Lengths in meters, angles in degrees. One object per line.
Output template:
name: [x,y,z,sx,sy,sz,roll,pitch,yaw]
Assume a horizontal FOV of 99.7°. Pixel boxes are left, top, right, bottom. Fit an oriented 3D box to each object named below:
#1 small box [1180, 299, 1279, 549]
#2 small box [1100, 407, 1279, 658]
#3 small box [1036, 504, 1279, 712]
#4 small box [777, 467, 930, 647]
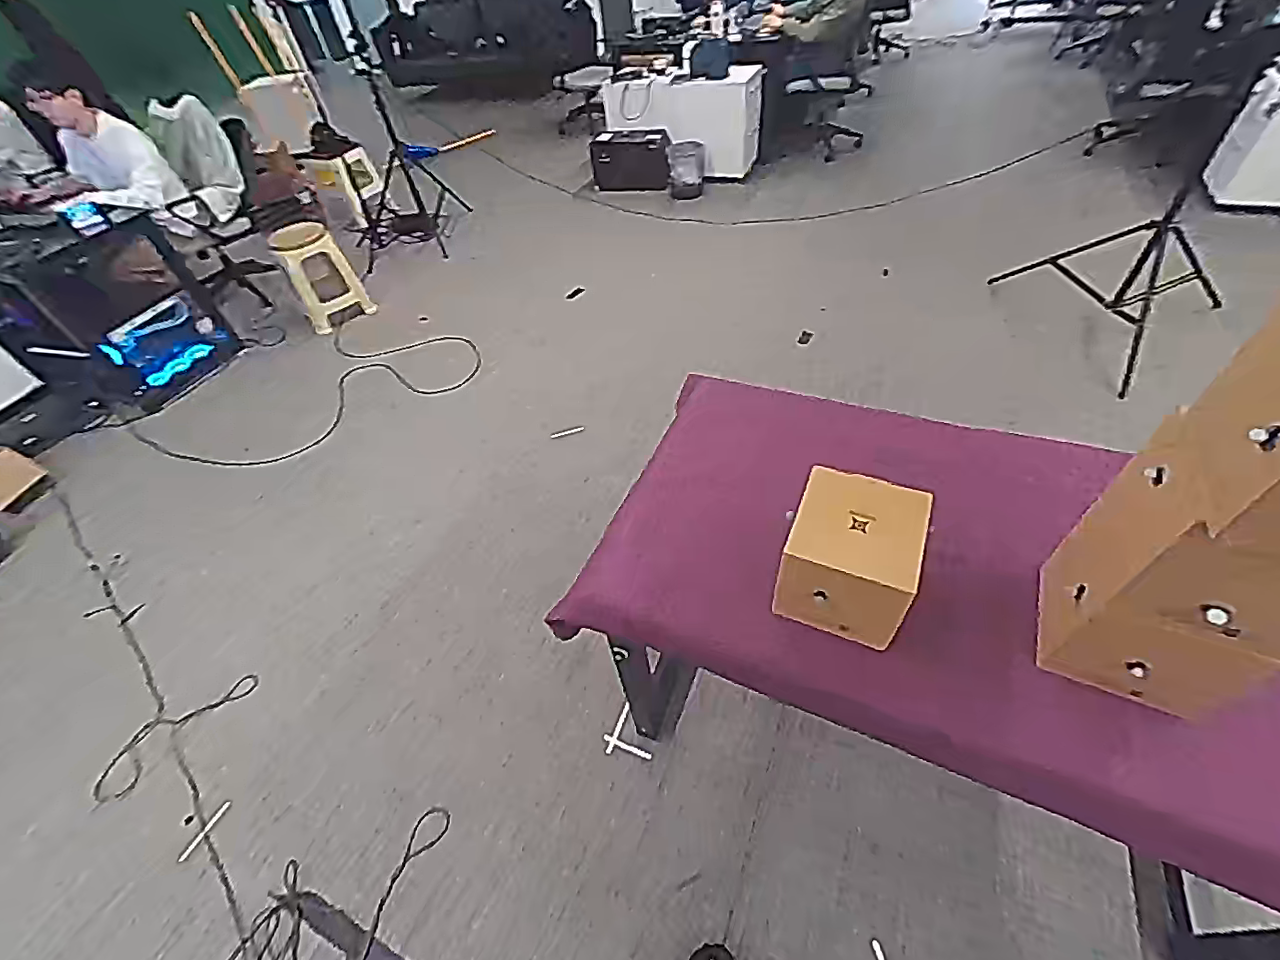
small box: [0.609,-0.038,0.446,0.168,0.176,0.179,15,51,19]
small box: [0.632,0.055,0.579,0.168,0.176,0.179,17,53,22]
small box: [0.643,0.167,0.699,0.168,0.176,0.179,18,52,21]
small box: [0.304,0.114,0.792,0.168,0.176,0.179,16,50,20]
